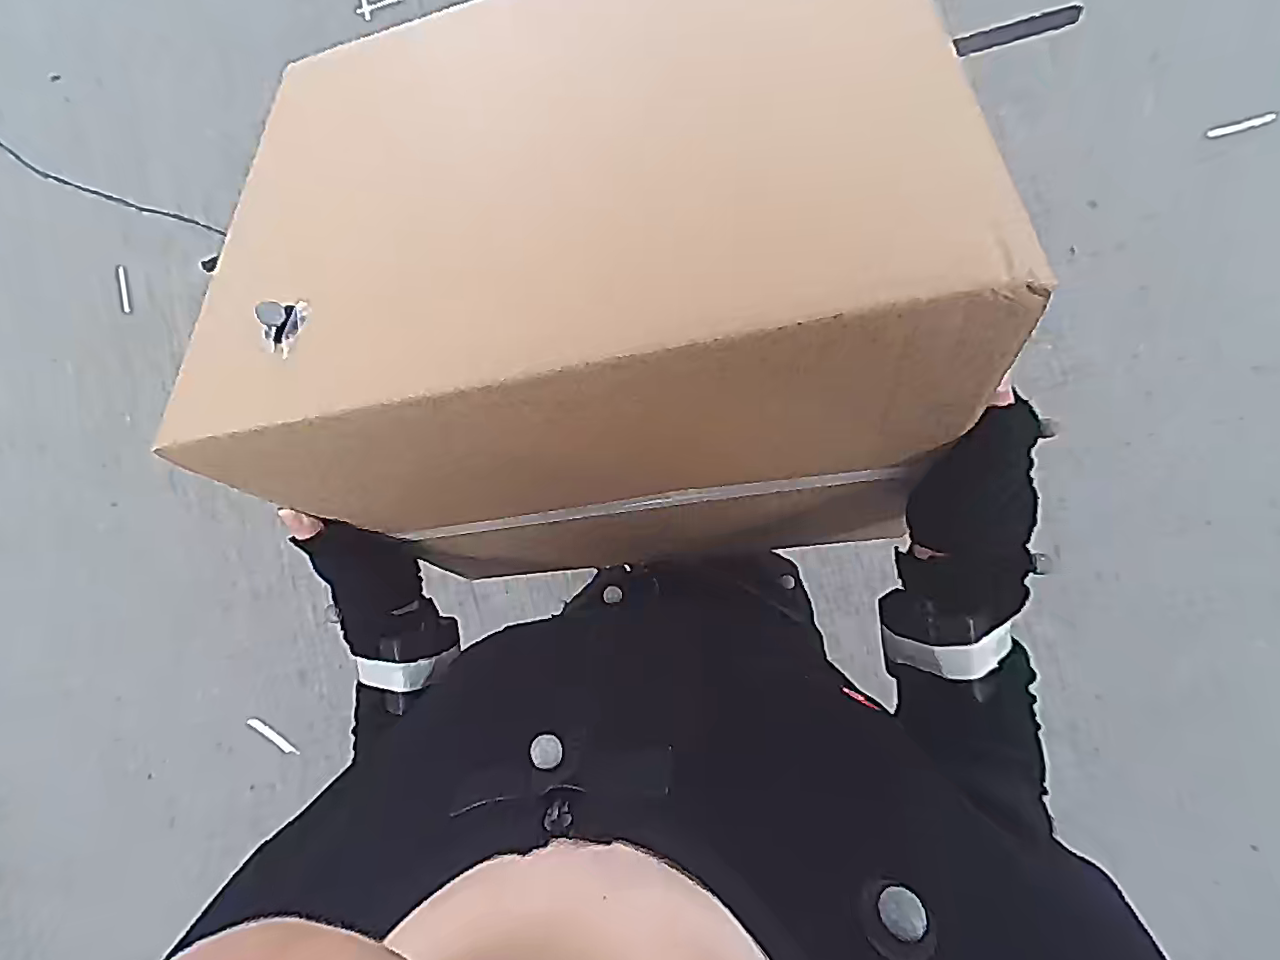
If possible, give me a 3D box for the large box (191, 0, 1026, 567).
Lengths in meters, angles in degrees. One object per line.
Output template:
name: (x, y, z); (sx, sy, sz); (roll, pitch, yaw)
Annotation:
large box: (-0.017, -0.132, 0.432); (0.408, 0.320, 0.320); (-7, 67, 12)
